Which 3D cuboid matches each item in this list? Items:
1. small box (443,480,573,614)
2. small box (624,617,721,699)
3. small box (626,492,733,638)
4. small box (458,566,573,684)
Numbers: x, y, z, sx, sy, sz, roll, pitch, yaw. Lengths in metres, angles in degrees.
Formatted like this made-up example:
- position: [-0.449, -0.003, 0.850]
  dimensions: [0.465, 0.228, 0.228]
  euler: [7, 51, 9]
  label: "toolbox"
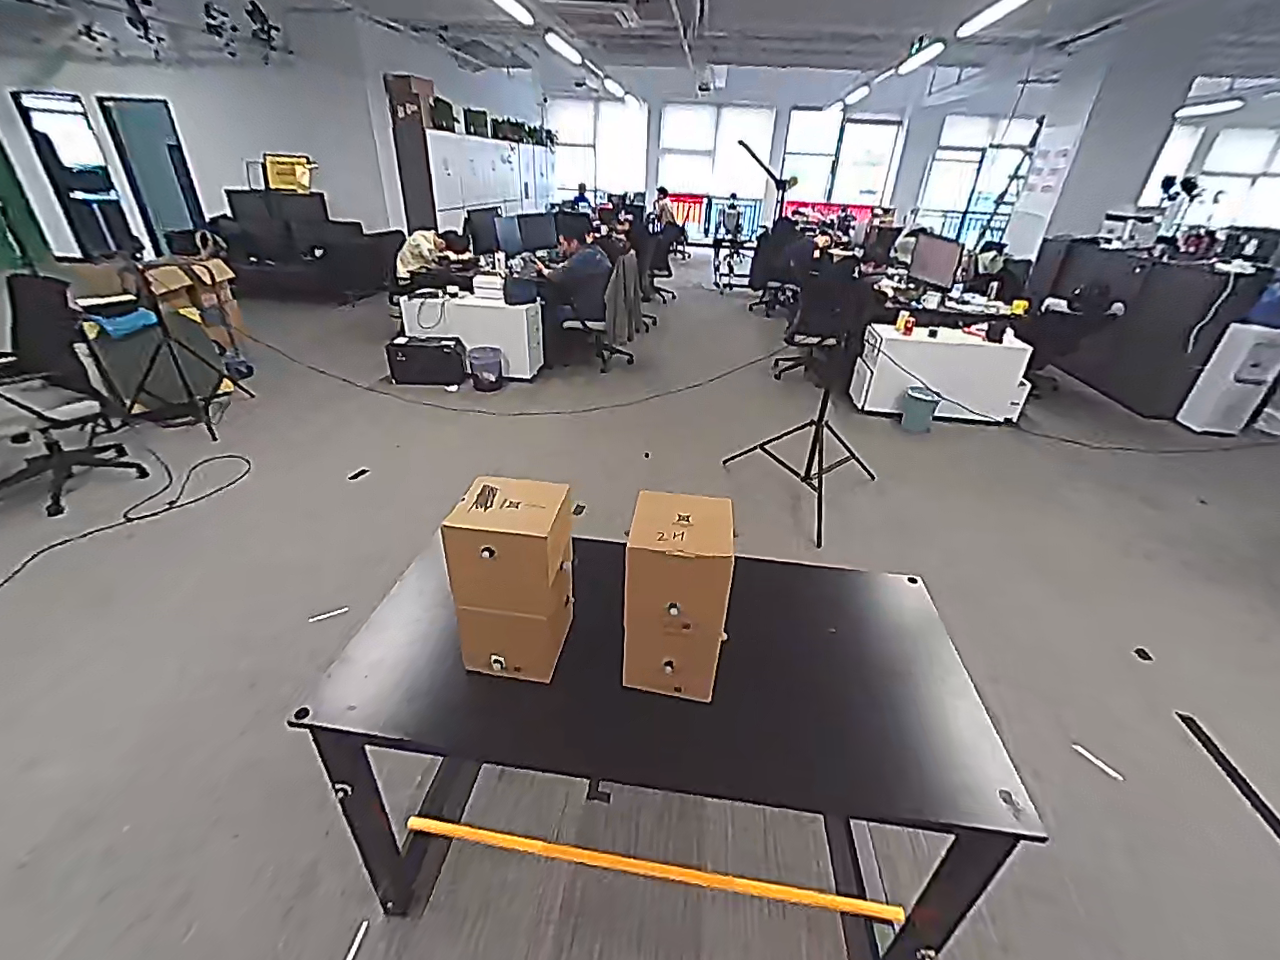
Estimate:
- position: [-0.222, 0.116, 0.957]
  dimensions: [0.179, 0.176, 0.168]
  euler: [5, 29, 5]
  label: "small box"
- position: [0.069, 0.282, 1.021]
  dimensions: [0.168, 0.176, 0.179]
  euler: [8, 30, 9]
  label: "small box"
- position: [0.068, 0.142, 0.933]
  dimensions: [0.168, 0.176, 0.179]
  euler: [5, 29, 5]
  label: "small box"
- position: [-0.228, 0.259, 1.039]
  dimensions: [0.168, 0.176, 0.179]
  euler: [5, 30, 6]
  label: "small box"
